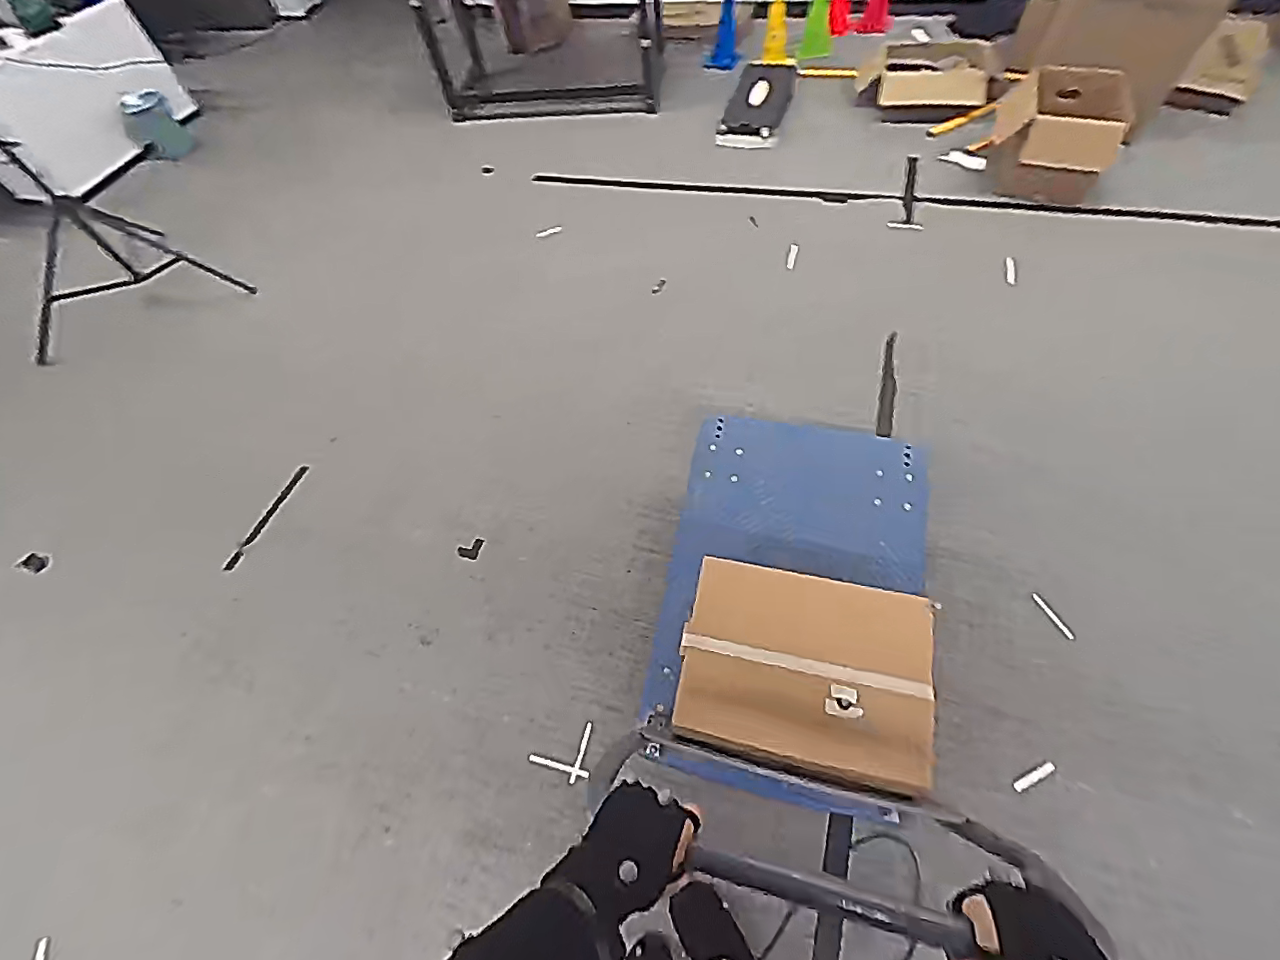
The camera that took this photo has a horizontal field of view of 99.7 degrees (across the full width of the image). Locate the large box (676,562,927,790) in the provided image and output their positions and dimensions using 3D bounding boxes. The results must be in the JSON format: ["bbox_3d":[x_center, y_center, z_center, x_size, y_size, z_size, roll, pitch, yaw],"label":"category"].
[{"bbox_3d":[0.295,0.381,1.064,0.408,0.320,0.320,9,67,11],"label":"large box"}]
